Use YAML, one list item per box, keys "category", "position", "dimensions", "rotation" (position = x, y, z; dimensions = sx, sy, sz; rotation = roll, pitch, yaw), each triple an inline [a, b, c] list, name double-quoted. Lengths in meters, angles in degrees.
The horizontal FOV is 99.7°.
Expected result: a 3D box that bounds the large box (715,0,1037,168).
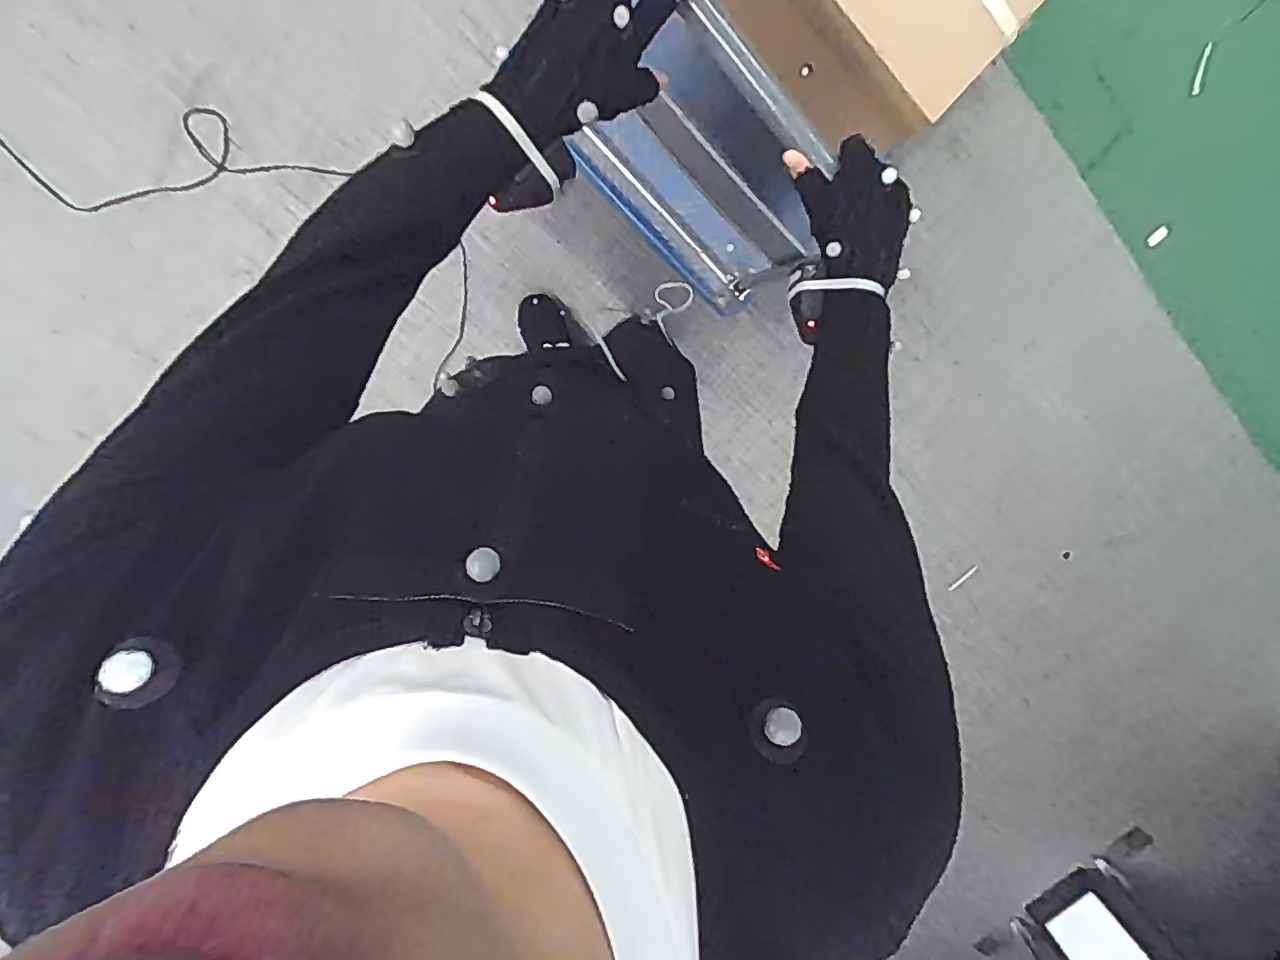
- category: "large box"
  position: [0.394, -0.833, 0.917]
  dimensions: [0.408, 0.320, 0.320]
  rotation: [40, 101, -14]
